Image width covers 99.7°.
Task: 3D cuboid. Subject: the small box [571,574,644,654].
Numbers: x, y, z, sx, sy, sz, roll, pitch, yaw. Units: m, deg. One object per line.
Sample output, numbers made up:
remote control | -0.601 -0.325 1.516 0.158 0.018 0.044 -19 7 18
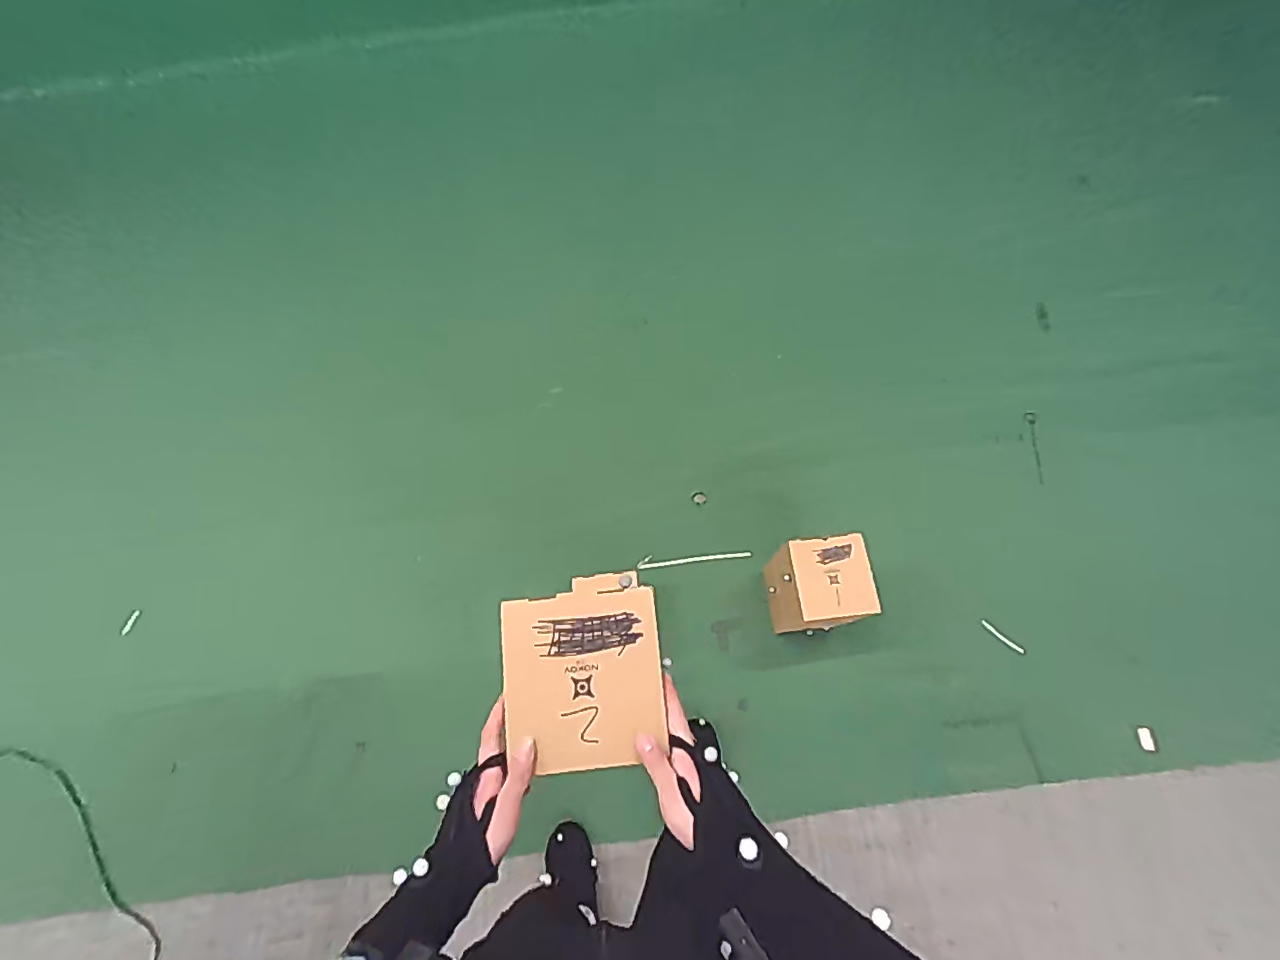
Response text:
small box | -0.080 0.351 1.393 0.168 0.176 0.179 -7 69 0

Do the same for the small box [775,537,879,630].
small box | 0.416 0.241 1.235 0.168 0.176 0.179 -6 70 0

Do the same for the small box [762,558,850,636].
small box | 0.419 0.298 1.389 0.168 0.176 0.179 -6 70 0
